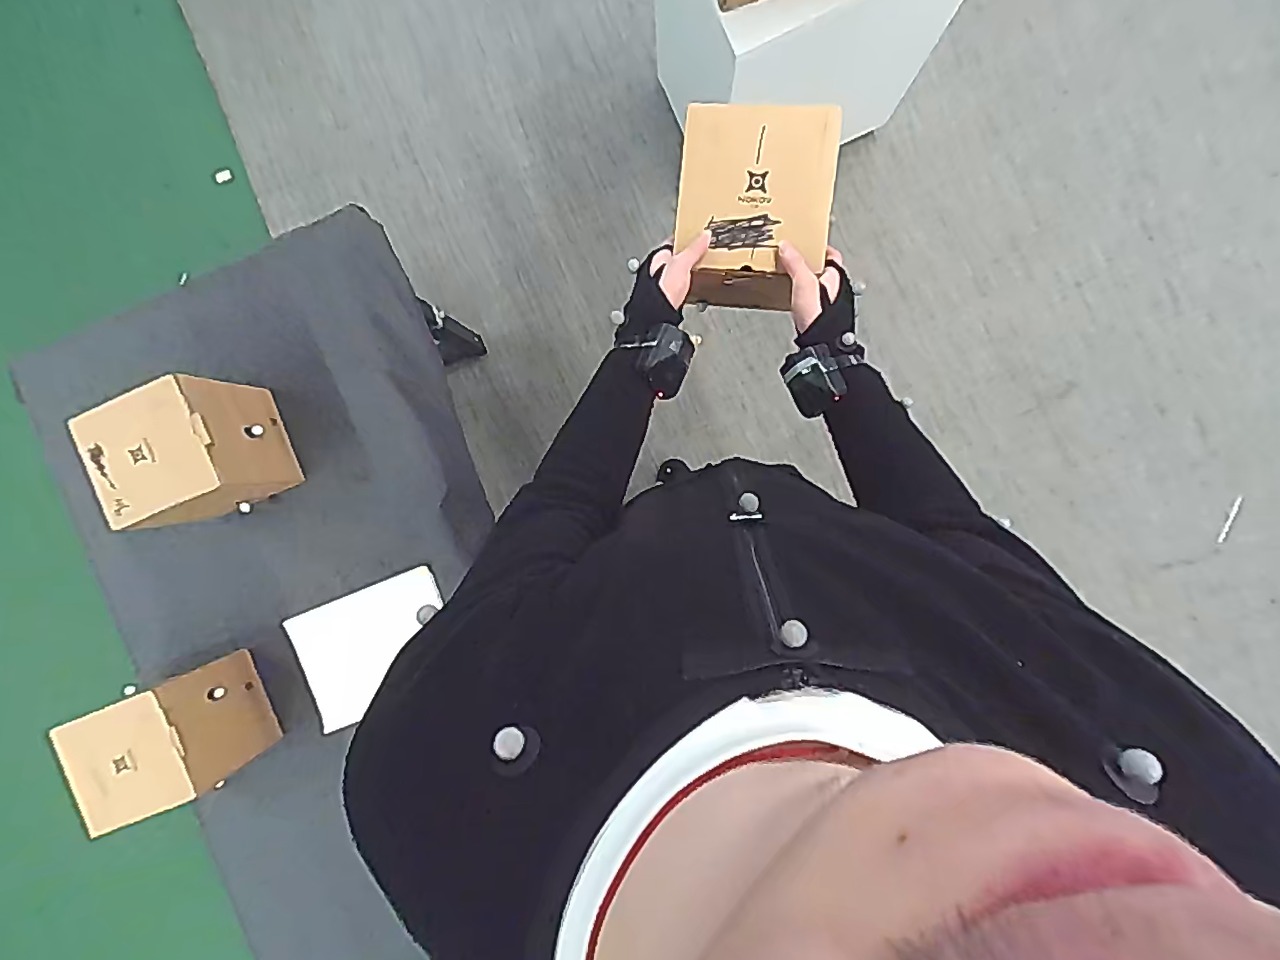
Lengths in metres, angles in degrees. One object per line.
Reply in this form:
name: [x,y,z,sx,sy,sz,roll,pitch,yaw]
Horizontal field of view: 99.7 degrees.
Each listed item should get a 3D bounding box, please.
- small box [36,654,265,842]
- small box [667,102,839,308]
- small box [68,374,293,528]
small box: [-0.712,0.387,0.814,0.179,0.176,0.168,-23,90,5]
small box: [0.130,-0.320,0.661,0.168,0.176,0.179,7,95,6]
small box: [-0.663,-0.042,0.808,0.179,0.176,0.168,-22,91,3]
